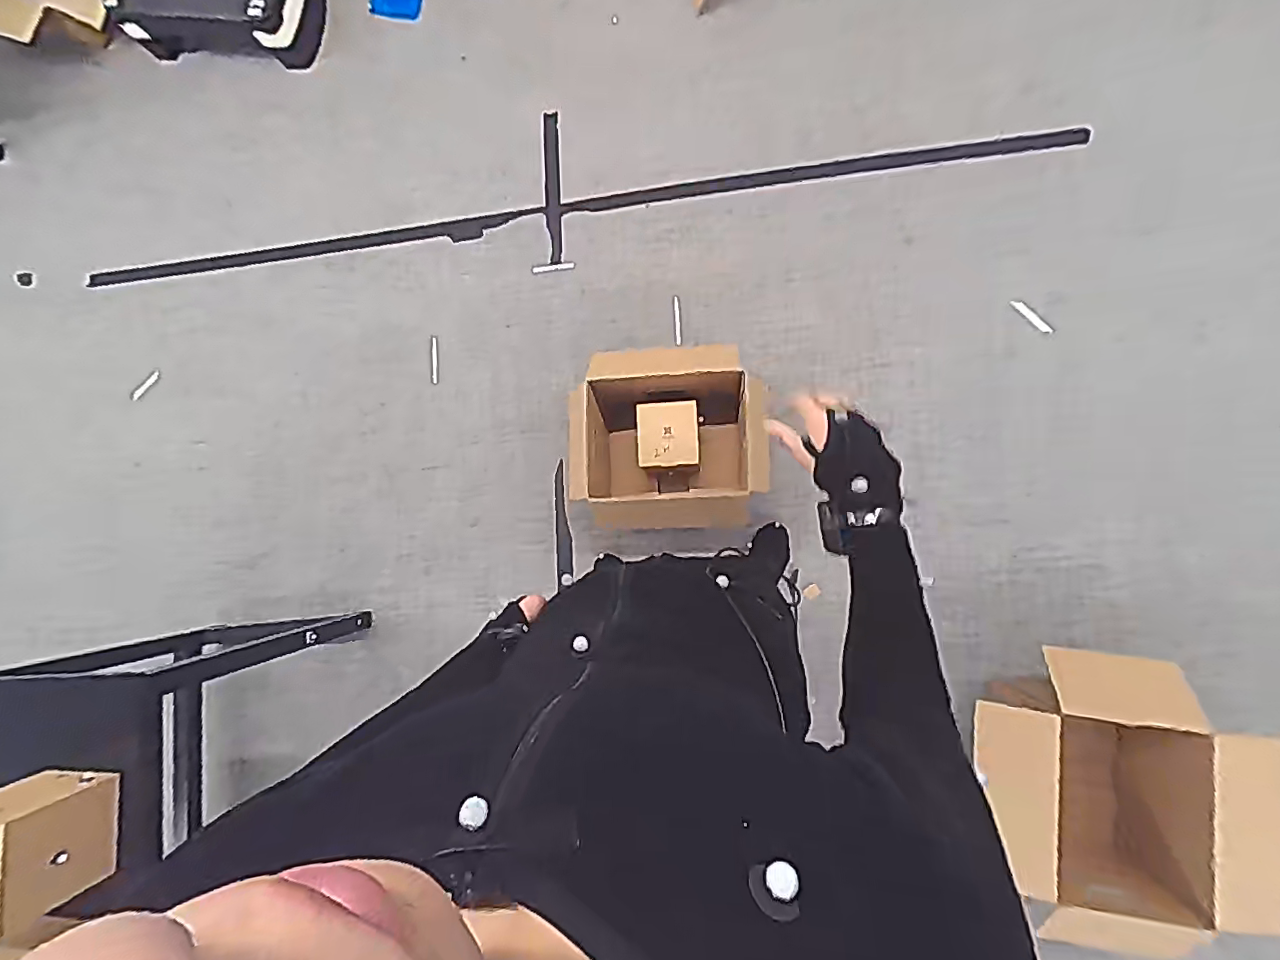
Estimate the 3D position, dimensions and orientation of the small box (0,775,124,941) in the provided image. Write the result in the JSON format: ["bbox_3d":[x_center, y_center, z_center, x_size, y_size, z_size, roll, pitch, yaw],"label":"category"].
[{"bbox_3d":[-1.038,0.630,0.925,0.168,0.176,0.179,-3,87,8],"label":"small box"}]
